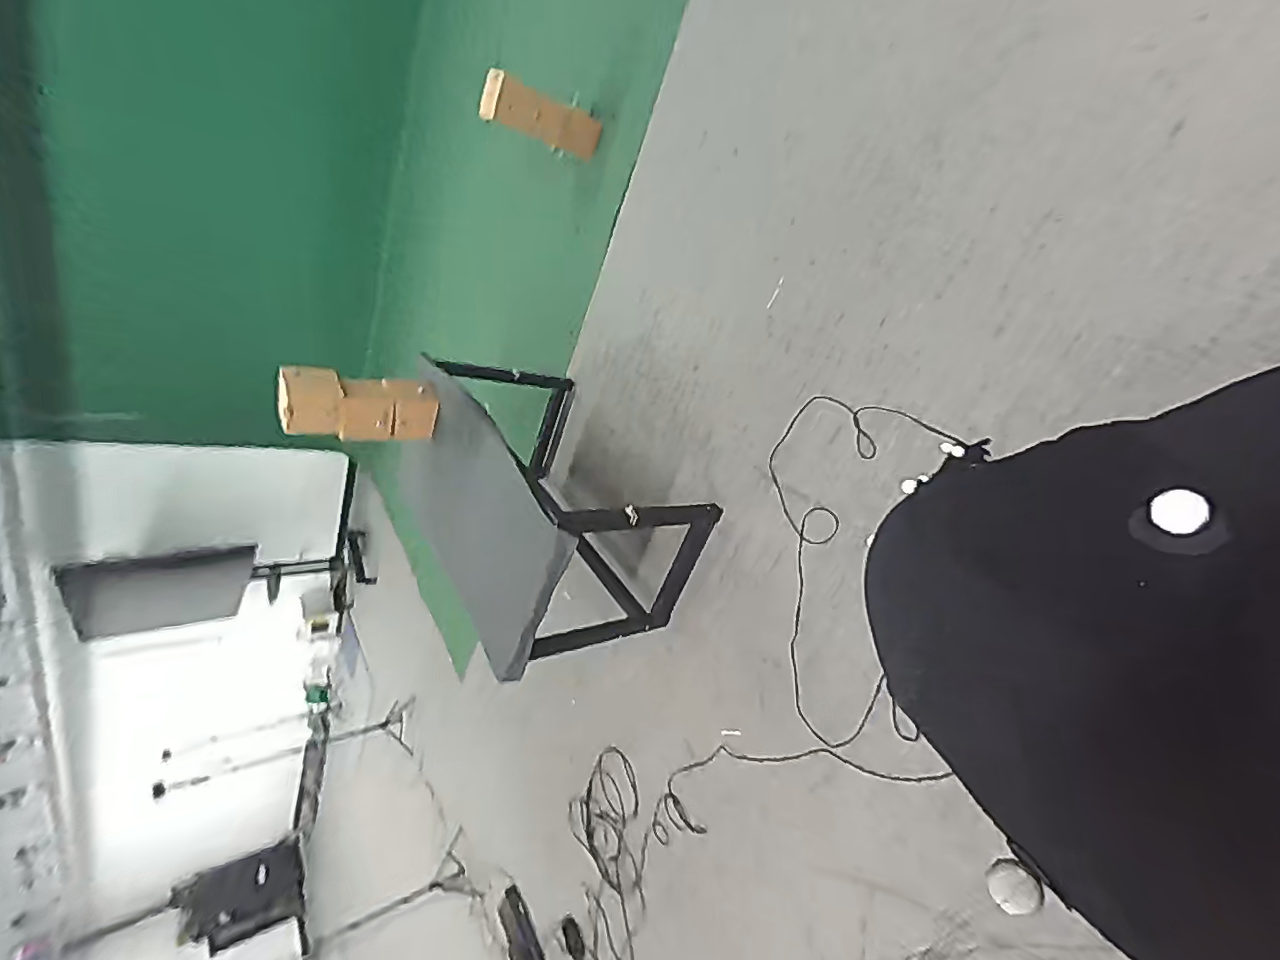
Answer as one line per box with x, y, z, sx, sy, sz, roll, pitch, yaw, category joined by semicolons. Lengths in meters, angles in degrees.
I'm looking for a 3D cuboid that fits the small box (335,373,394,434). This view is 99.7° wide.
-1.022;-0.277;1.982;0.179;0.176;0.168;41;123;38;small box

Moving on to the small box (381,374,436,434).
-0.906;-0.290;2.095;0.168;0.176;0.179;49;126;35;small box

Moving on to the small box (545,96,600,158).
-0.309;-1.643;2.520;0.168;0.176;0.179;48;124;36;small box

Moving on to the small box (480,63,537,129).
-0.559;-1.632;2.306;0.168;0.176;0.179;47;124;37;small box

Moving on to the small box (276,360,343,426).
-1.147;-0.296;1.873;0.179;0.176;0.168;47;127;37;small box
